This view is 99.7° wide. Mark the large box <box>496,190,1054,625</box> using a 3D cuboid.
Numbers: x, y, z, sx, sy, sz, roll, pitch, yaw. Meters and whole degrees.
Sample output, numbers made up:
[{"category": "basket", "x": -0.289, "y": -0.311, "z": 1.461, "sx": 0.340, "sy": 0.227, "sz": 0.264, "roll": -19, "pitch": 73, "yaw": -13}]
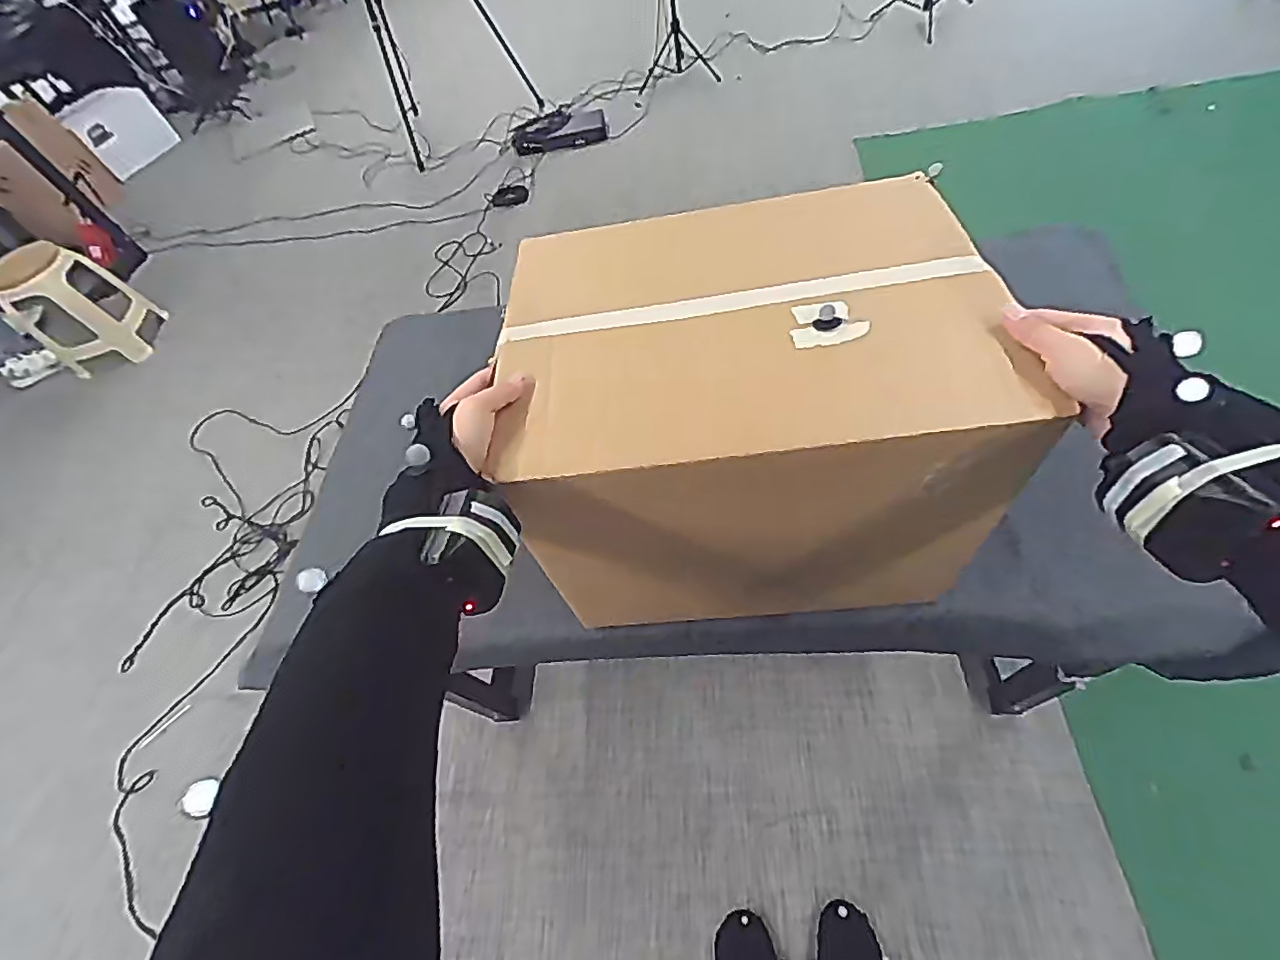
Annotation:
[{"category": "large box", "x": 0.101, "y": -0.058, "z": 0.588, "sx": 0.408, "sy": 0.320, "sz": 0.320, "roll": -6, "pitch": 55, "yaw": 6}]
